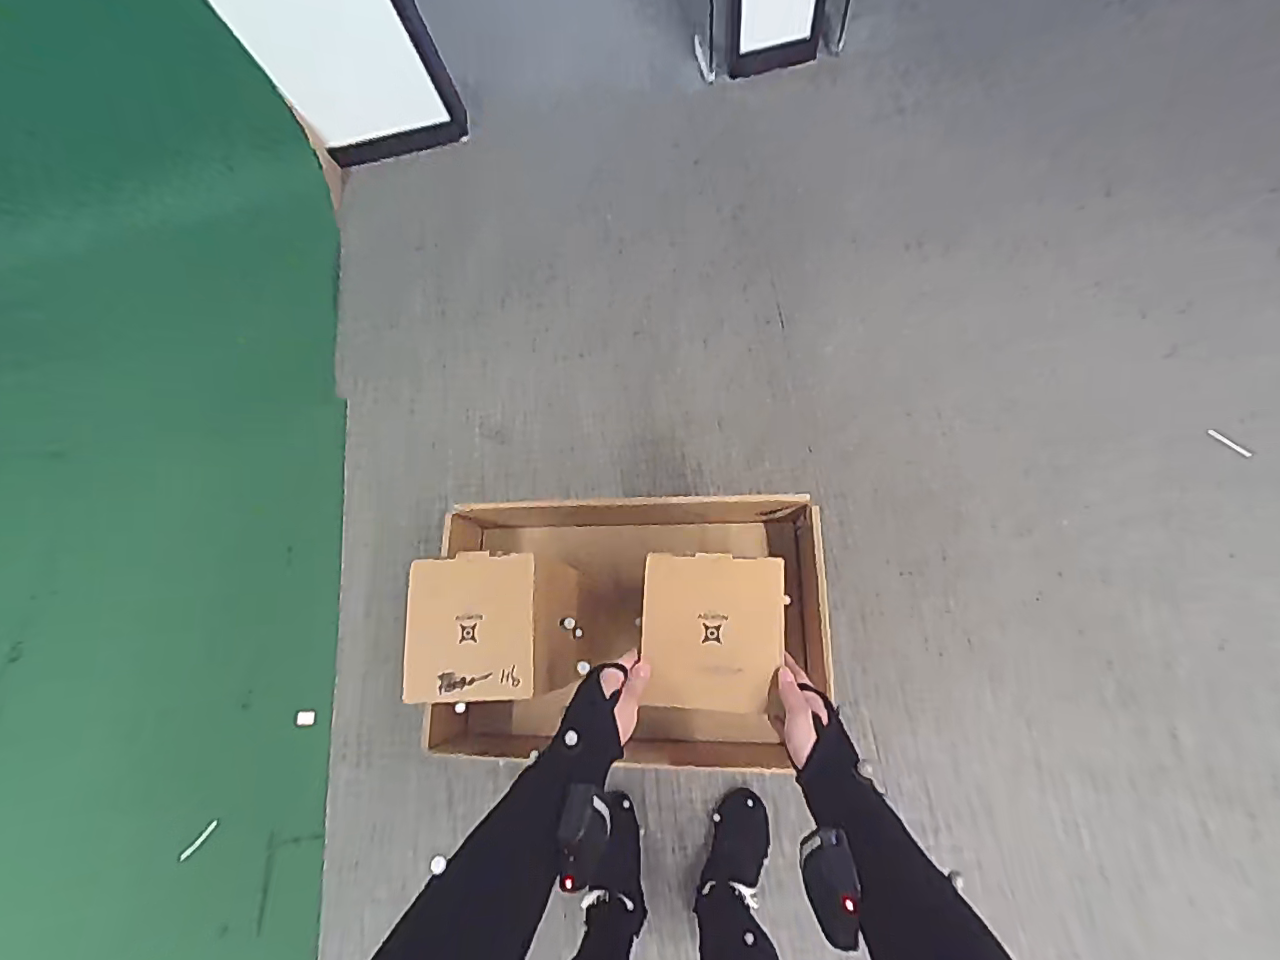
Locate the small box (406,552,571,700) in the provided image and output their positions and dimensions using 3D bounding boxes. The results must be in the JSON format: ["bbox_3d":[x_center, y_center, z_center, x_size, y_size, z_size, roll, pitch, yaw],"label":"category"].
[{"bbox_3d":[-0.198,0.204,0.753,0.168,0.176,0.179,-6,74,9],"label":"small box"}]

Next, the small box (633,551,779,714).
[{"bbox_3d":[0.090,0.195,0.709,0.168,0.176,0.179,1,75,10],"label":"small box"}]
